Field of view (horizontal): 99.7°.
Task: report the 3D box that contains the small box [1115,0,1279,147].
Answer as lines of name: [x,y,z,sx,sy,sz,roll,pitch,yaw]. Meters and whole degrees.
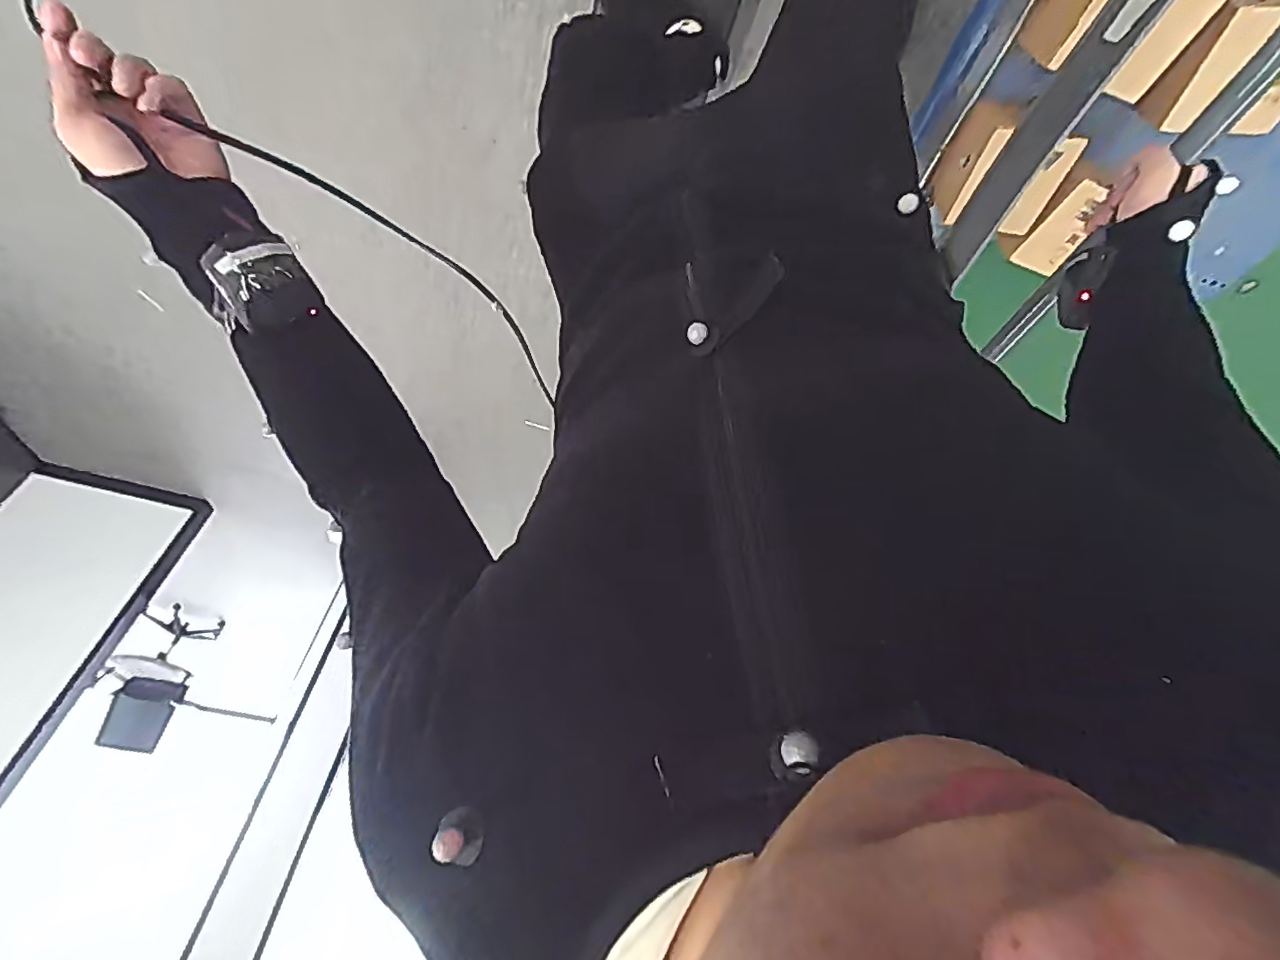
small box: [0.962,-0.684,0.905,0.179,0.176,0.168,5,143,4]
